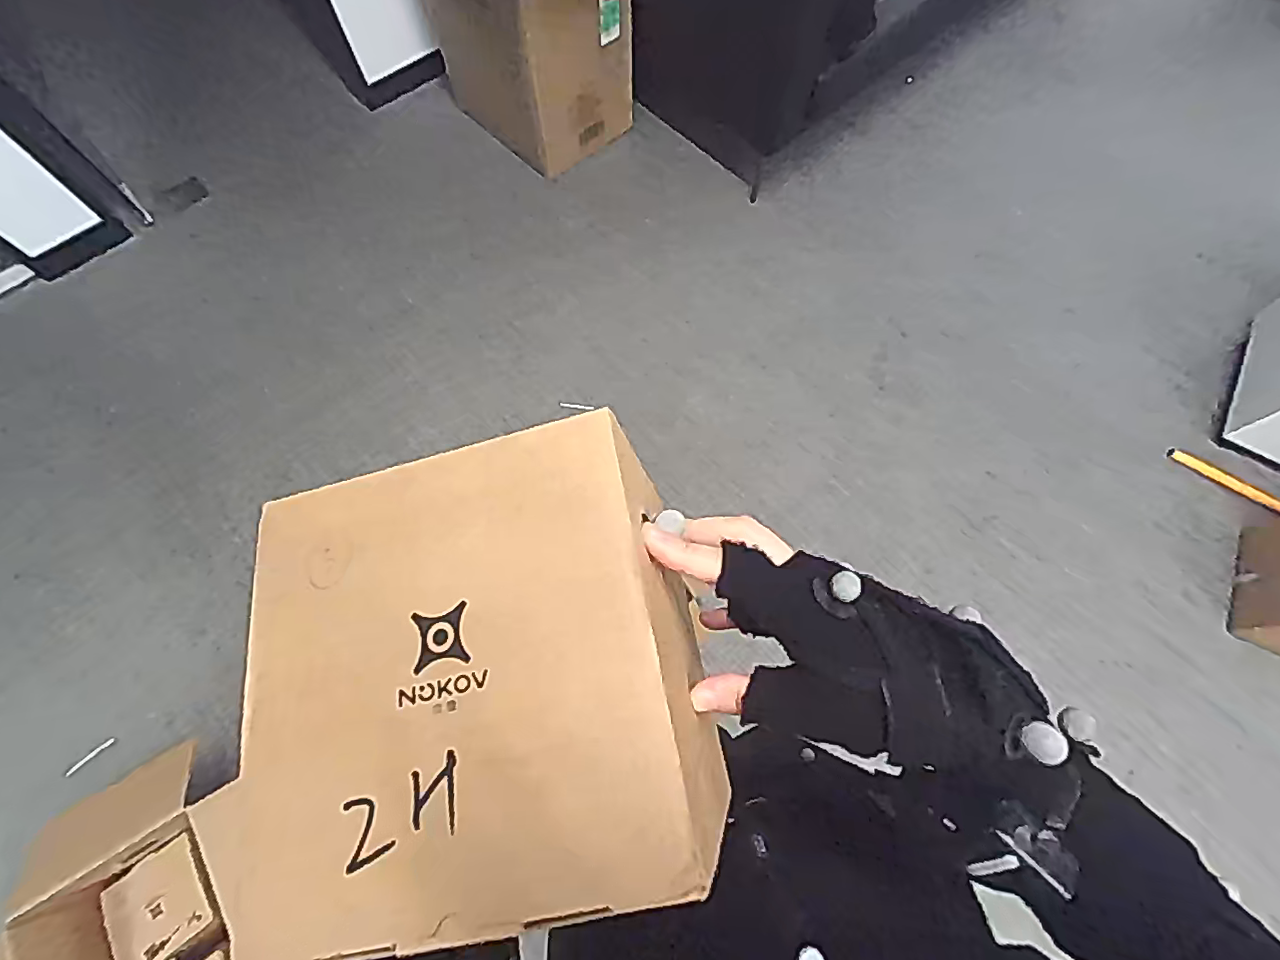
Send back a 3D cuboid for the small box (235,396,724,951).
[{"bbox_3d":[-0.057,0.087,0.278,0.168,0.176,0.179,-14,69,6],"label":"small box"}]
